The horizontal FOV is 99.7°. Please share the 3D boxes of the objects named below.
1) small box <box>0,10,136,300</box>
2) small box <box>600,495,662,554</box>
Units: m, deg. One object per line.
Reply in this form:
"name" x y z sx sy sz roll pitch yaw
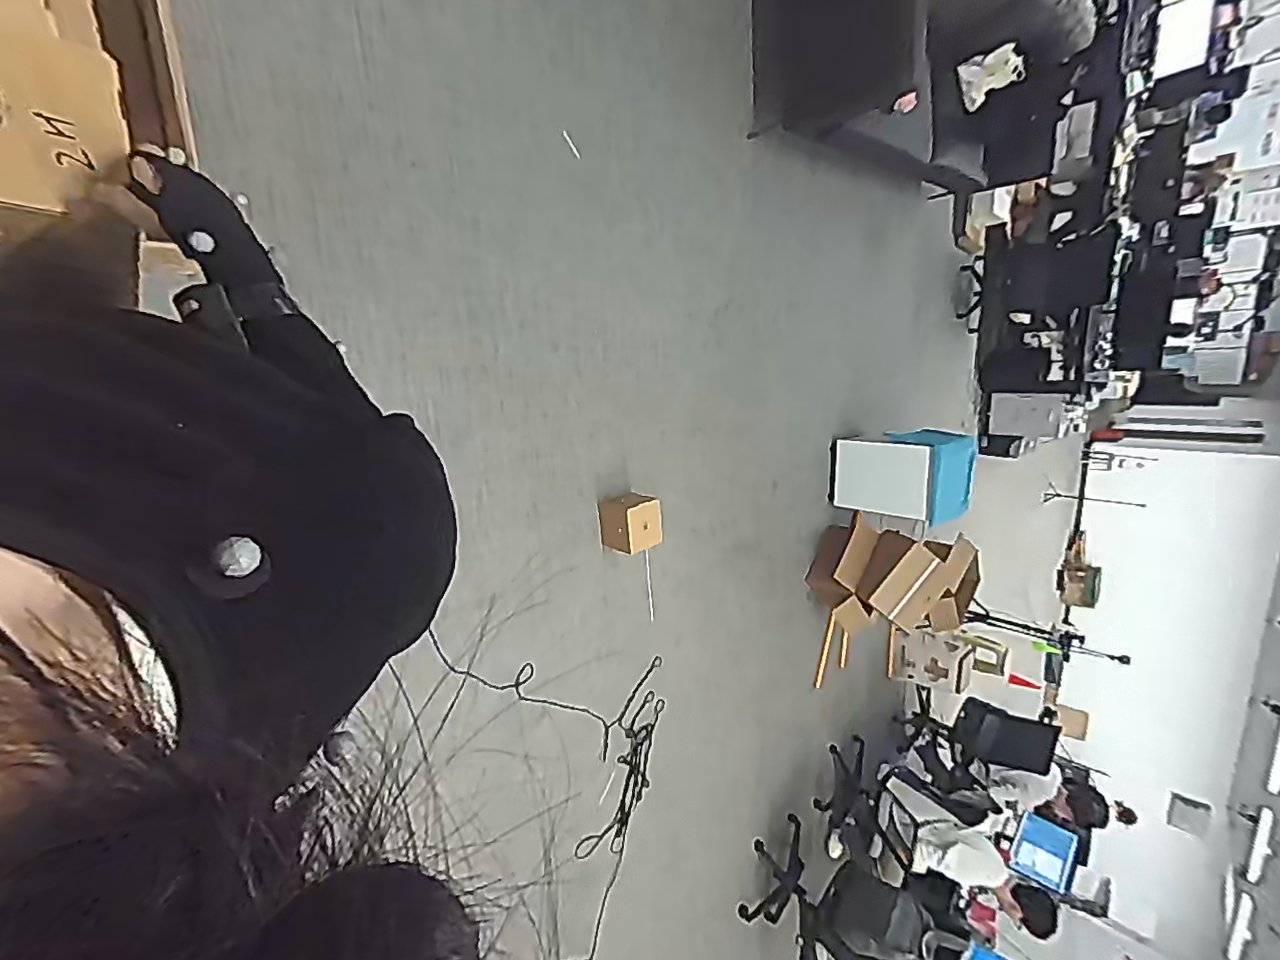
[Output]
"small box" -0.559 -0.273 0.462 0.179 0.176 0.168 -8 84 -45
"small box" -0.036 0.159 2.022 0.168 0.176 0.179 -16 108 -41
